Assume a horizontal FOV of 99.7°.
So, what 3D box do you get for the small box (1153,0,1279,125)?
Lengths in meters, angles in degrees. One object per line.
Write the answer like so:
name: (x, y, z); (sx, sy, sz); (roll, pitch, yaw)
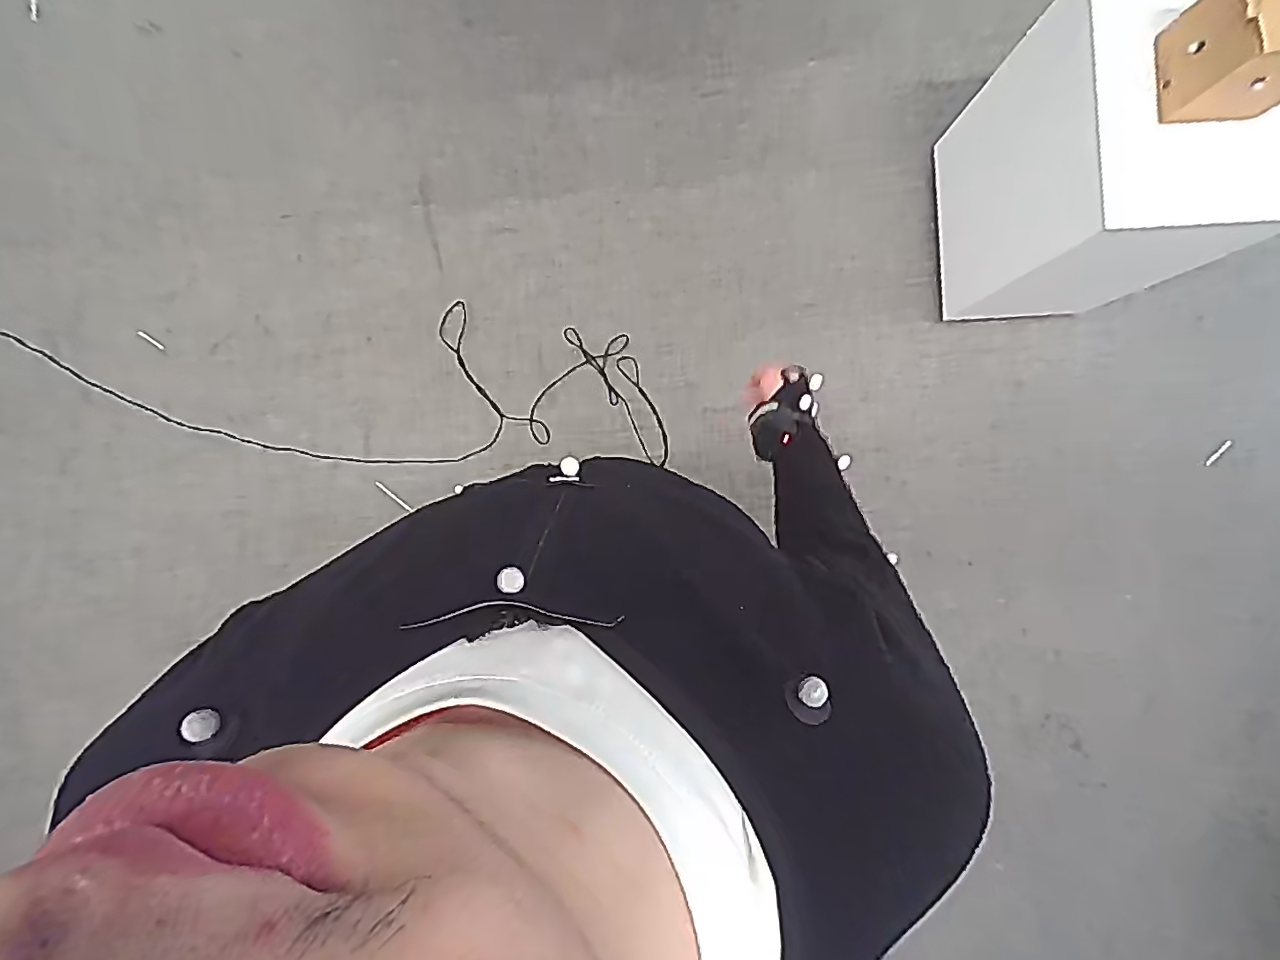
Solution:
small box: (1.028, -0.739, 0.920); (0.179, 0.176, 0.168); (-5, 89, 0)
